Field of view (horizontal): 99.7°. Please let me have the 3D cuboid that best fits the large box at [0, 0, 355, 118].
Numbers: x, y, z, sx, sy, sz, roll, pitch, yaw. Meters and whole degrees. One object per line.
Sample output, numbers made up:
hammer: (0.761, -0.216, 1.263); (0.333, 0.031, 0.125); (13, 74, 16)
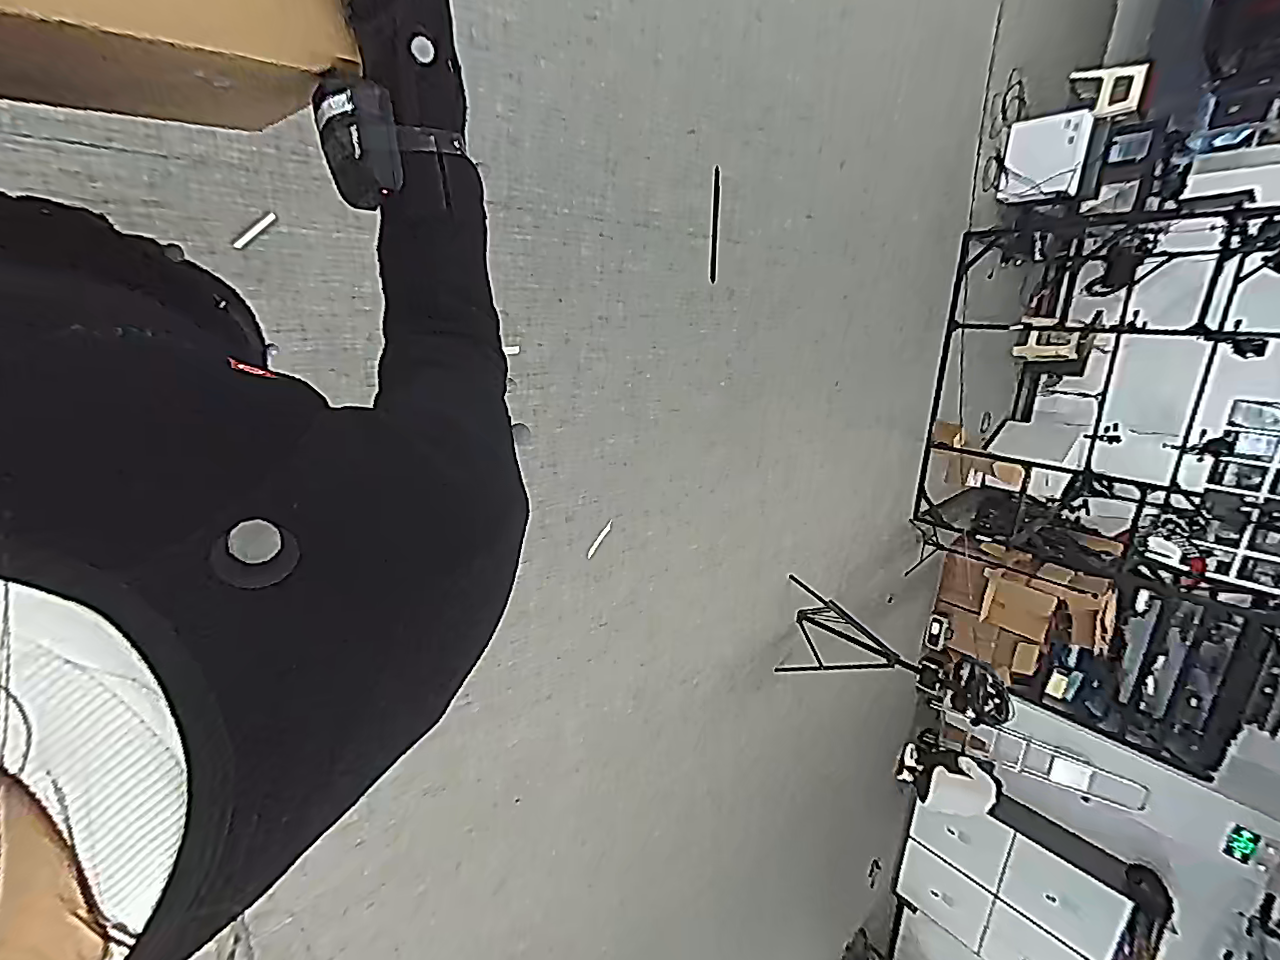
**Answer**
large box: (-0.425, -0.394, 0.256); (0.408, 0.320, 0.320); (-20, 124, -39)
